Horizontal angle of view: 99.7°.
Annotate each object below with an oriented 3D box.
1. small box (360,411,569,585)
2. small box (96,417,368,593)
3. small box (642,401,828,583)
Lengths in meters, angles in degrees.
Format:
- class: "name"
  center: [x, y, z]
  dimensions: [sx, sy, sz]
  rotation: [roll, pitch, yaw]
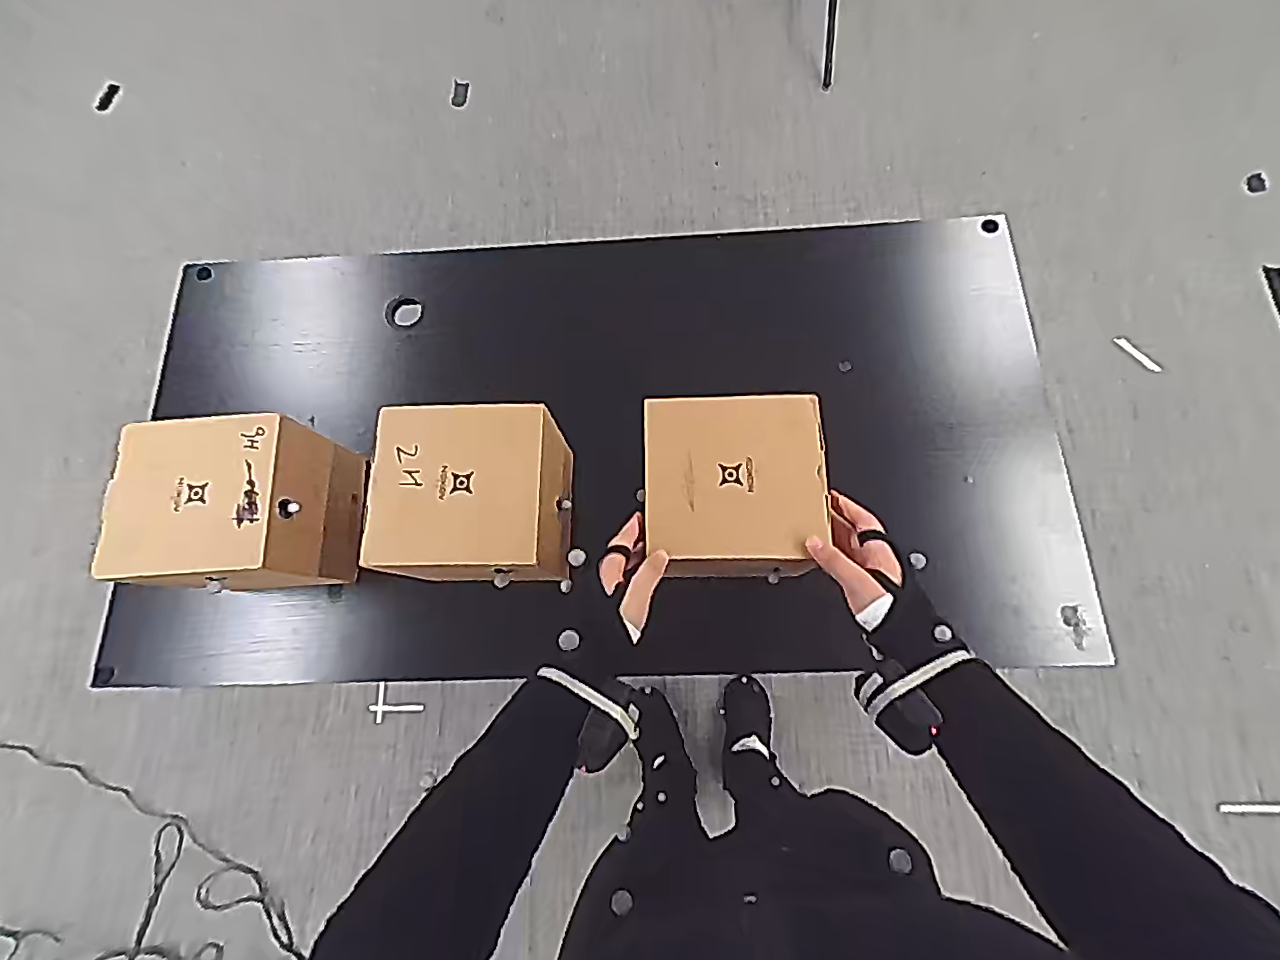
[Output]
- class: "small box"
  center: [-0.180, 0.029, 0.615]
  dimensions: [0.179, 0.176, 0.168]
  rotation: [-1, 74, 4]
- class: "small box"
  center: [-0.453, 0.039, 0.630]
  dimensions: [0.179, 0.176, 0.168]
  rotation: [-4, 75, 3]
- class: "small box"
  center: [0.094, 0.023, 0.602]
  dimensions: [0.179, 0.176, 0.168]
  rotation: [-2, 73, 4]
